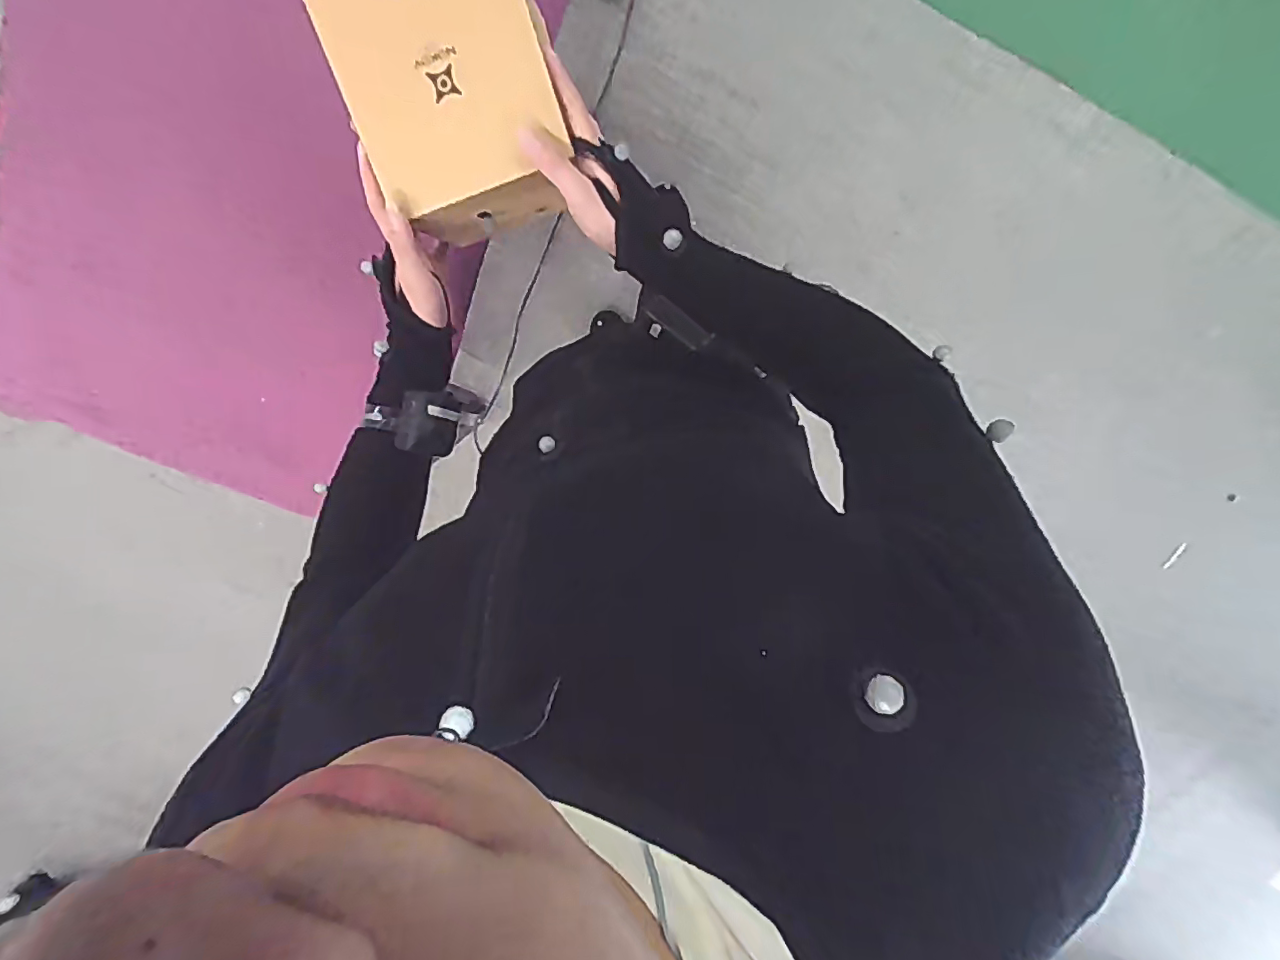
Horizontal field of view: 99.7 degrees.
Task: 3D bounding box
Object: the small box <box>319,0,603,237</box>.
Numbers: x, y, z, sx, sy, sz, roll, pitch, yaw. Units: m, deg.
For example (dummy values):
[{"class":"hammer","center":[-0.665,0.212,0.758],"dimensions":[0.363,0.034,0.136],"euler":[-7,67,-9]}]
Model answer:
[{"class":"small box","center":[-0.141,-0.341,0.500],"dimensions":[0.168,0.176,0.179],"euler":[-17,105,6]}]
